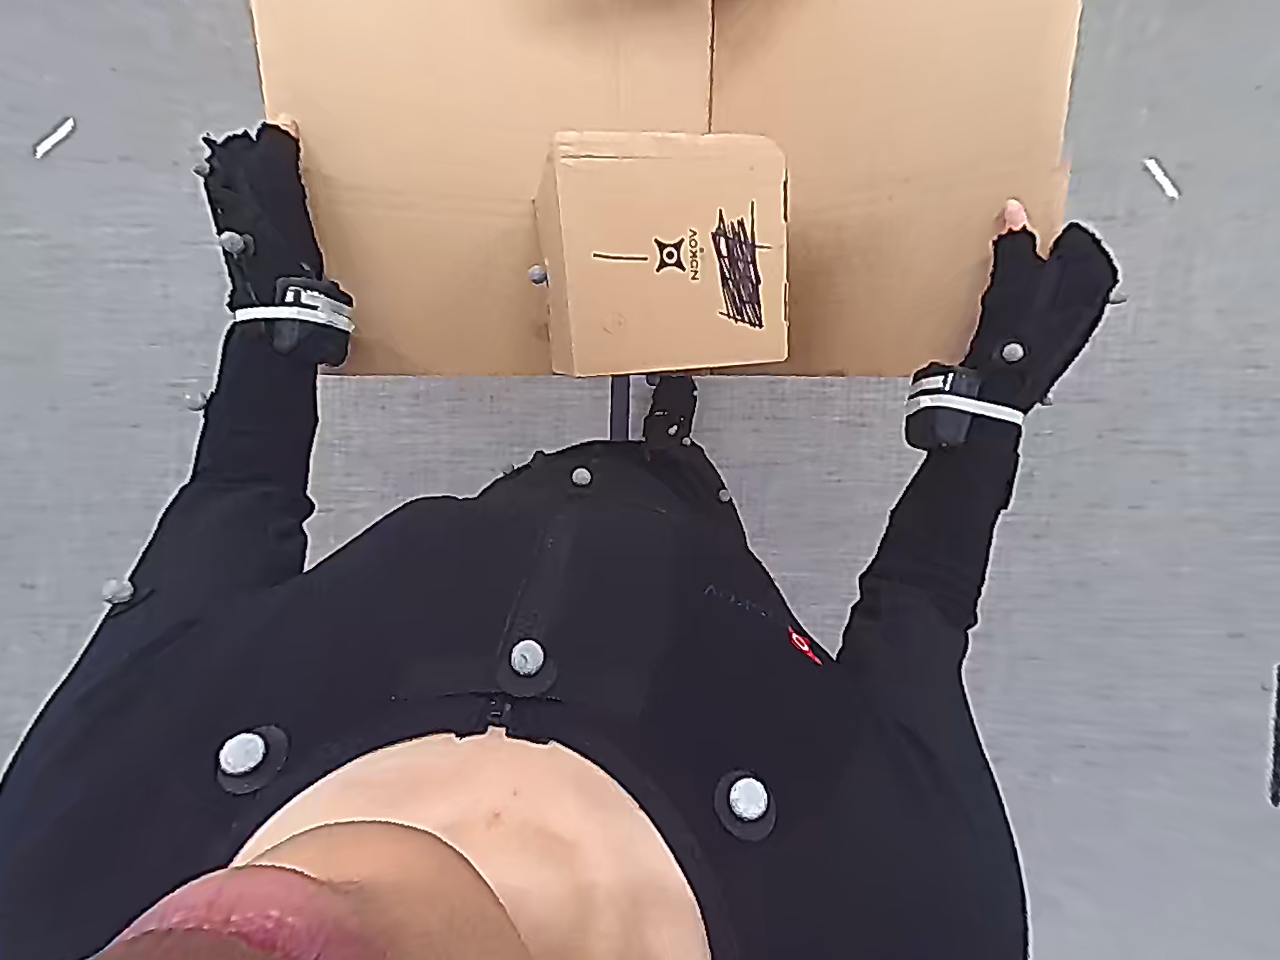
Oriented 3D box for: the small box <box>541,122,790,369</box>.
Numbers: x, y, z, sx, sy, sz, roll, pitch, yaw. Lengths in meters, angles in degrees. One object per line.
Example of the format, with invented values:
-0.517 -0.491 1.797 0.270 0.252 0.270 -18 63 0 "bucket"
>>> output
0.013 -0.190 0.478 0.179 0.176 0.168 -7 104 -12 "small box"
